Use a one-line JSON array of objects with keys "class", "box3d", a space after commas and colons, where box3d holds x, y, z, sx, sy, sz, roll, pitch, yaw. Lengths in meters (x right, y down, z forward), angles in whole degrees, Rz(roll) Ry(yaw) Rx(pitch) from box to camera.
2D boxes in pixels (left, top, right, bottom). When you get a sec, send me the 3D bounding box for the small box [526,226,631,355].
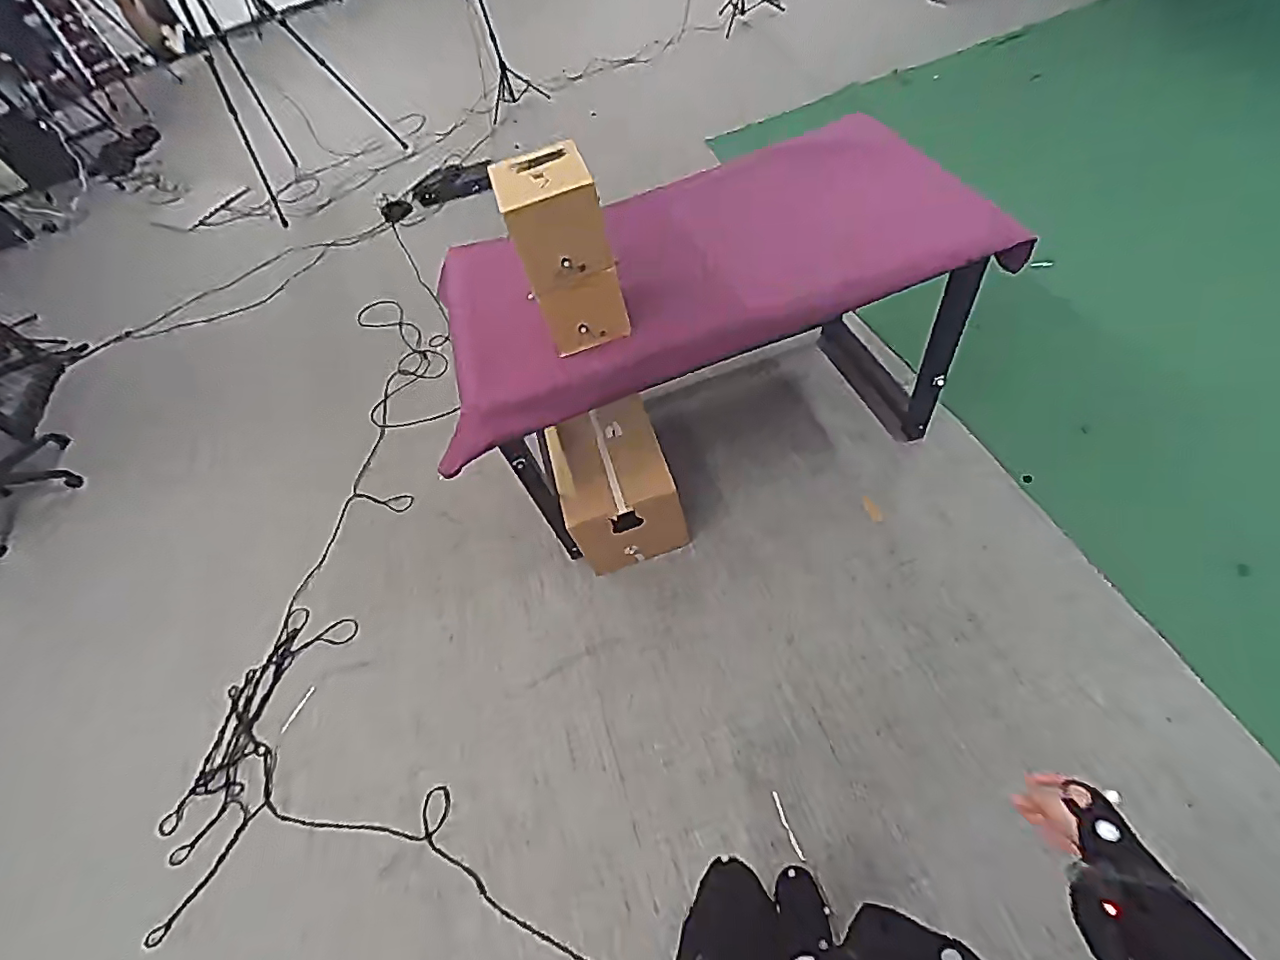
[{"class": "small box", "box3d": [-0.128, -0.397, 1.146, 0.168, 0.176, 0.179, -19, 54, 0]}]
